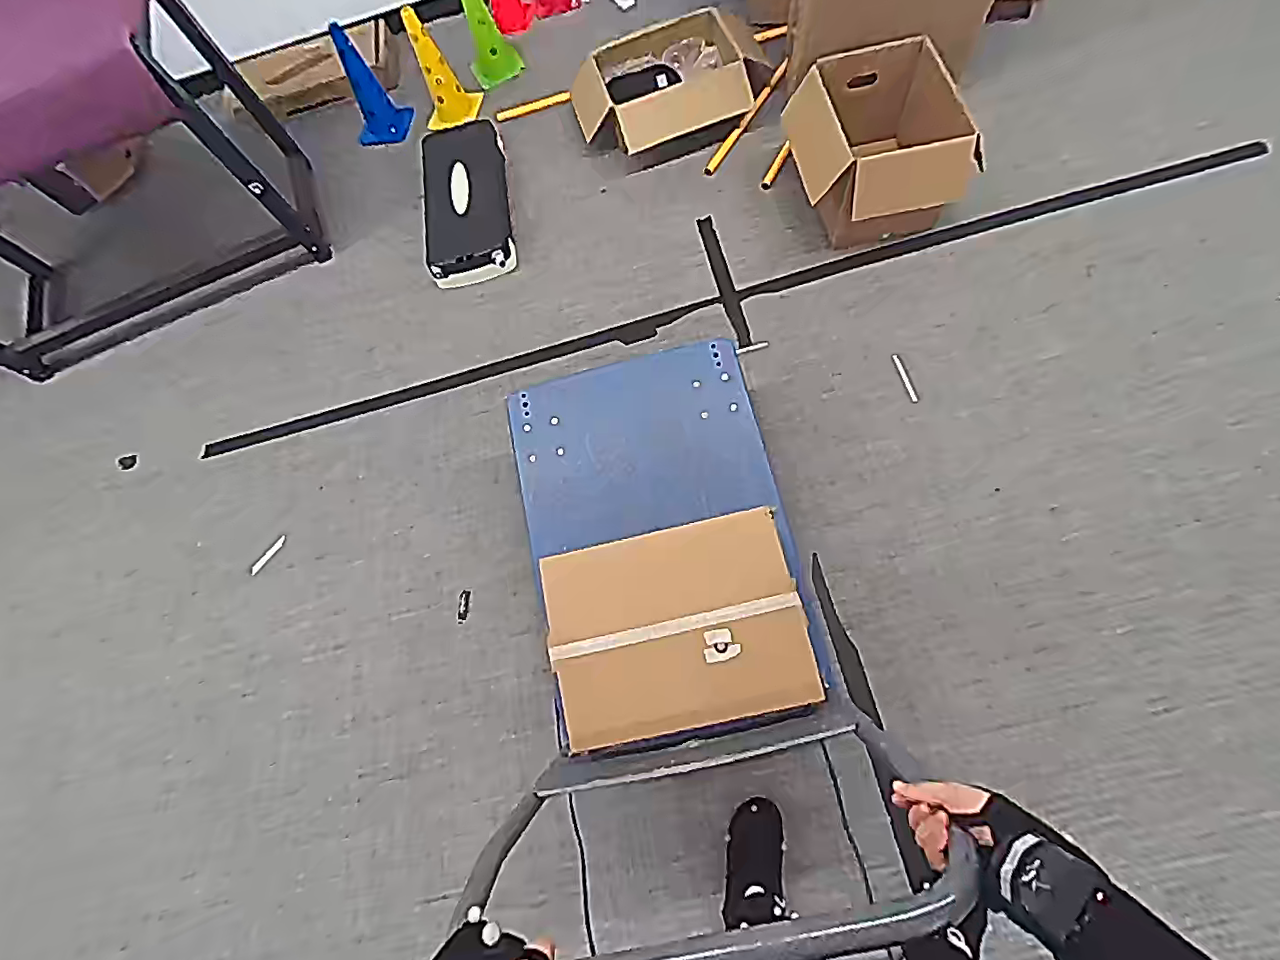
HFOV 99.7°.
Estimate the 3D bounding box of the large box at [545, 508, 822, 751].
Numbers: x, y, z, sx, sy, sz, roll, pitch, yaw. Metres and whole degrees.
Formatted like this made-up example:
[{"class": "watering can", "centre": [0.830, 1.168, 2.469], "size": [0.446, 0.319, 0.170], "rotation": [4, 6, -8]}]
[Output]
[{"class": "large box", "centre": [0.075, 0.275, 1.026], "size": [0.408, 0.320, 0.320], "rotation": [-13, 75, 3]}]
